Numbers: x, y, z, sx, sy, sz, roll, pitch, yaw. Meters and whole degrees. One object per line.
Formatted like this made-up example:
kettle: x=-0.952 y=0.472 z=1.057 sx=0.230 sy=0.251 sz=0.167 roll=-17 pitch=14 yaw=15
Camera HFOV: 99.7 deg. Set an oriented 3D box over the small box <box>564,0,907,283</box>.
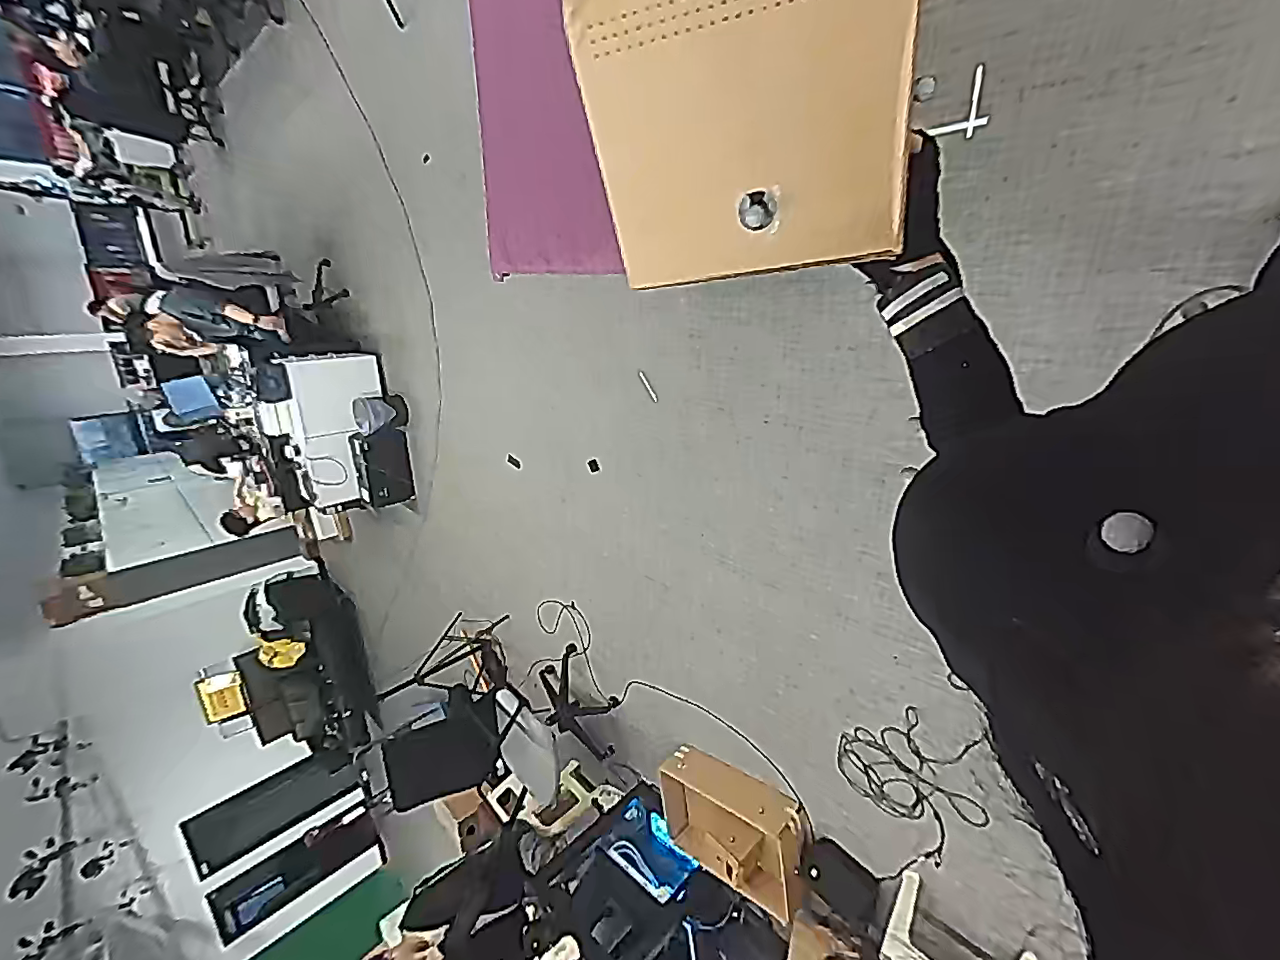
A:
small box: x=0.072 y=-0.255 z=0.355 sx=0.179 sy=0.168 sz=0.176 roll=0 pitch=133 yaw=21
